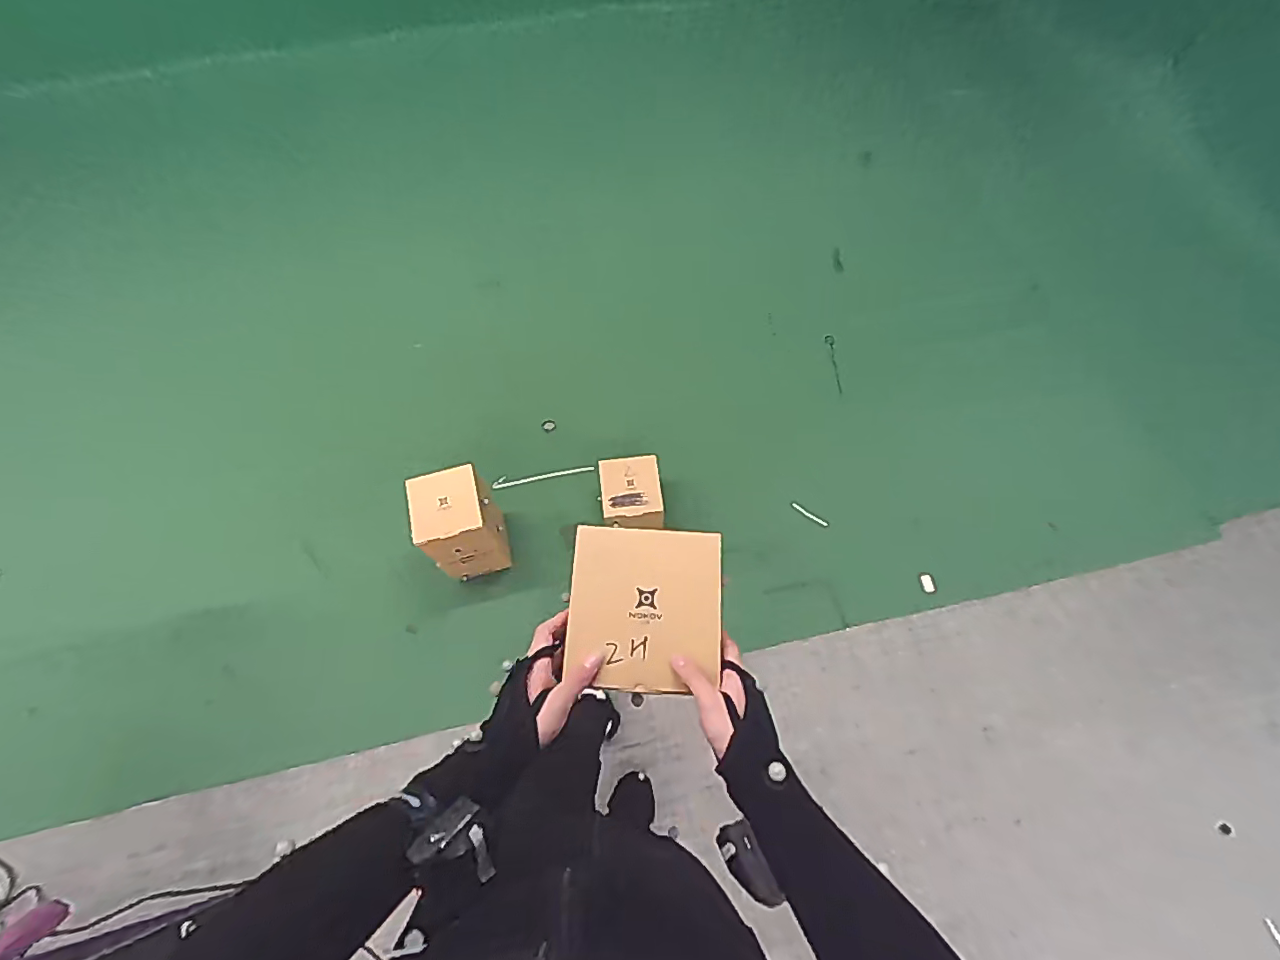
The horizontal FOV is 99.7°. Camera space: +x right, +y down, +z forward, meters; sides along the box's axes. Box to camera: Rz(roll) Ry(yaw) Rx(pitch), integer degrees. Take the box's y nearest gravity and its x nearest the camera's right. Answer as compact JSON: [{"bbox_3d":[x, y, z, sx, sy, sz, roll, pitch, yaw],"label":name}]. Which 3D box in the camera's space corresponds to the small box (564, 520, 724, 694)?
[{"bbox_3d":[0.006,0.161,0.662,0.168,0.176,0.179,4,70,0],"label":"small box"}]

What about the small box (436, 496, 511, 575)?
[{"bbox_3d":[-0.471,0.157,1.520,0.168,0.176,0.179,-14,66,-6],"label":"small box"}]

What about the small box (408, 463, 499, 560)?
[{"bbox_3d":[-0.470,0.085,1.375,0.168,0.176,0.179,-15,68,-7],"label":"small box"}]
